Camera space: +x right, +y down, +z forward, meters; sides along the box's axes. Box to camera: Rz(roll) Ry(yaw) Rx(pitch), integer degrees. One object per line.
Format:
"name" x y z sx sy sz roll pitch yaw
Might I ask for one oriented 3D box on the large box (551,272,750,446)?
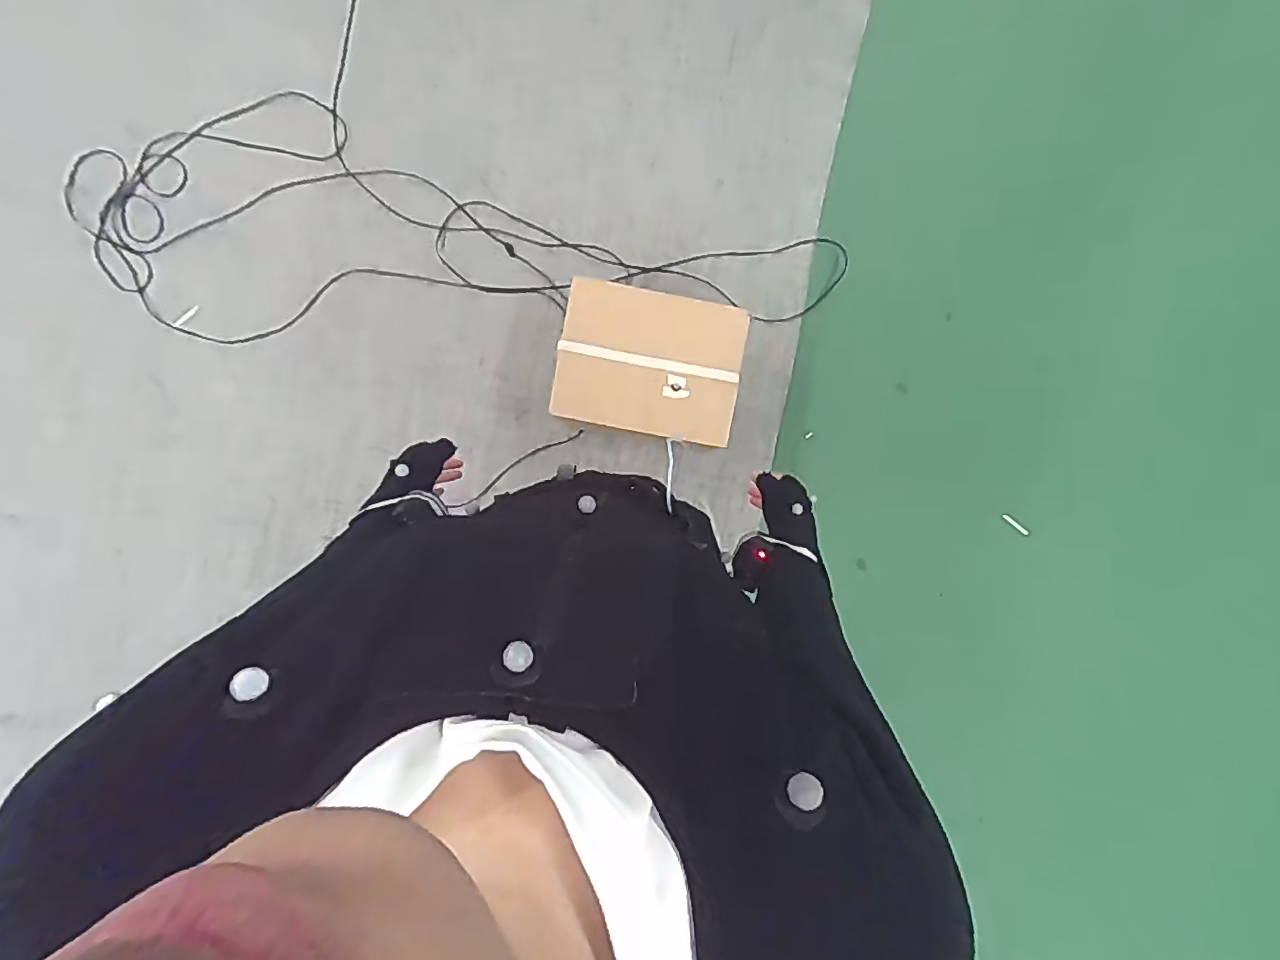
"large box" 0.016 -0.275 1.336 0.408 0.320 0.320 11 91 -2
